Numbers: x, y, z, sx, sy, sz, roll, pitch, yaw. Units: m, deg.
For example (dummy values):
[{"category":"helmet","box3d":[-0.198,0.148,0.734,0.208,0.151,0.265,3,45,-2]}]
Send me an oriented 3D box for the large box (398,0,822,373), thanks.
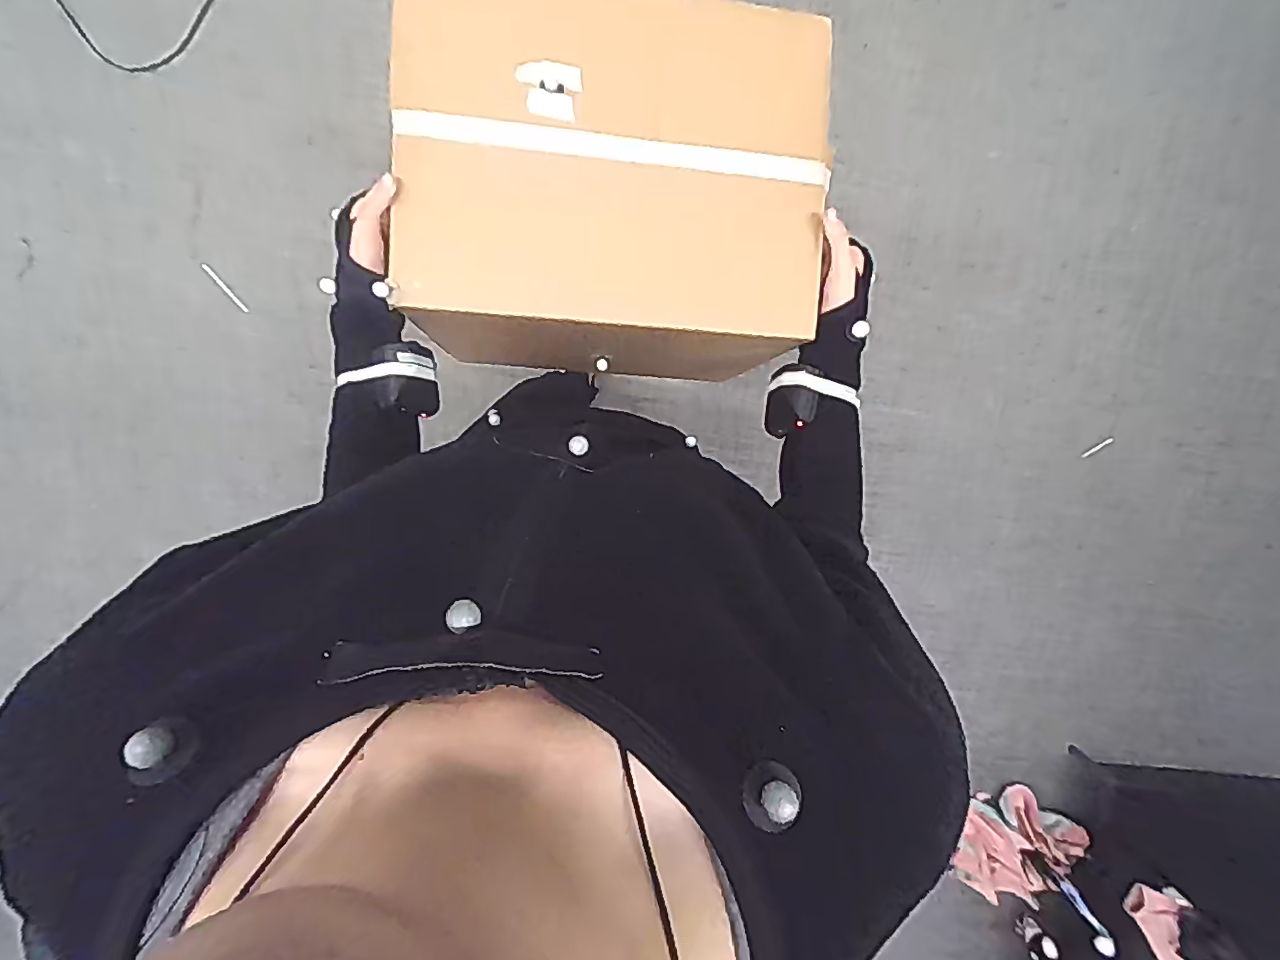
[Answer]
[{"category":"large box","box3d":[-0.037,-0.312,0.664,0.408,0.320,0.320,3,92,-7]}]
